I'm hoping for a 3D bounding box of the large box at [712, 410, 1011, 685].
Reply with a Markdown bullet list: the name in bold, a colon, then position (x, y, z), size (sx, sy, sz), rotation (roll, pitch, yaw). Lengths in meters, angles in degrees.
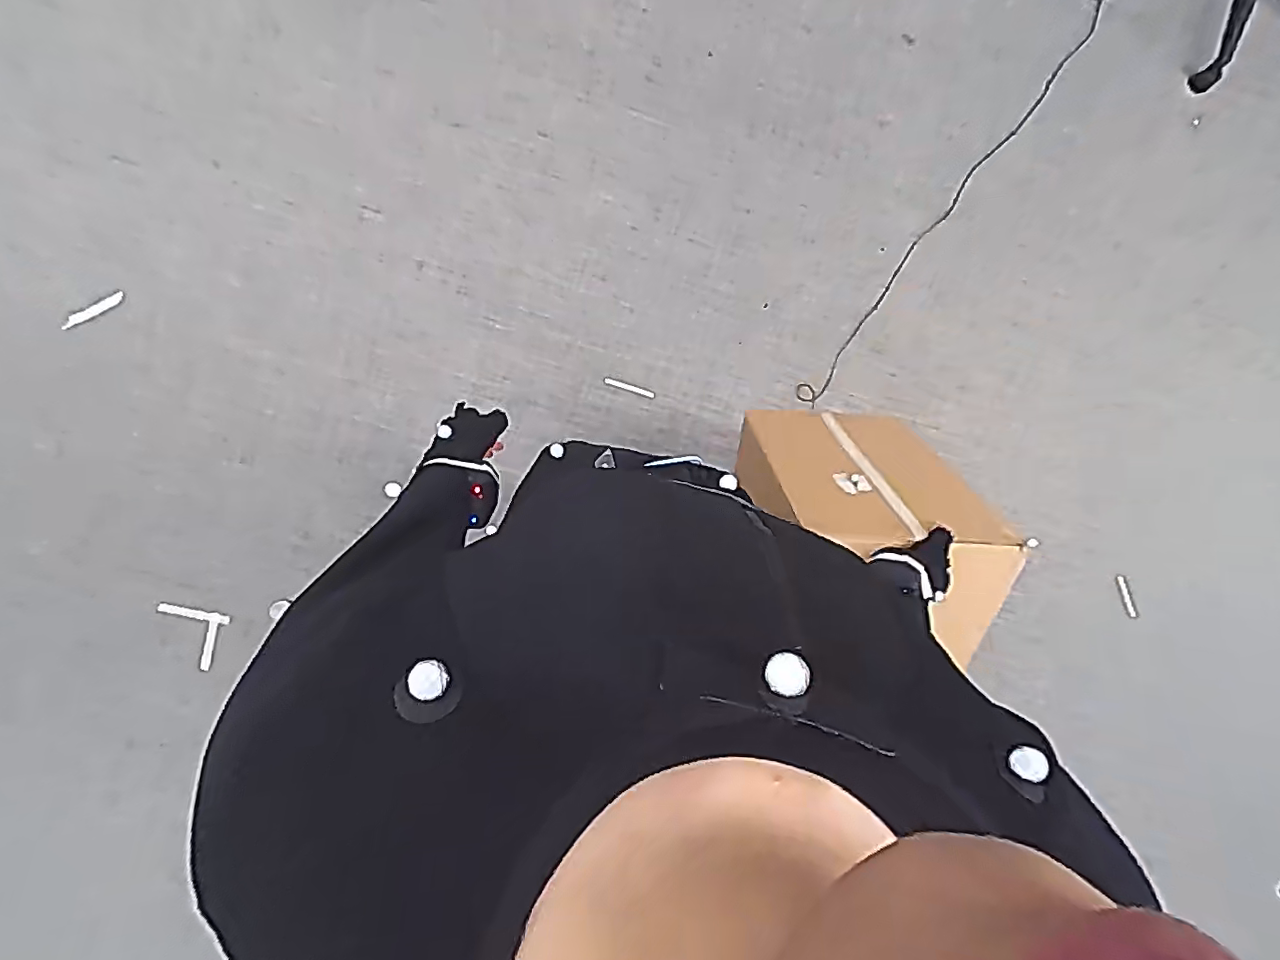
- **large box**: position (0.337, 0.105, 0.978), size (0.320, 0.408, 0.320), rotation (2, 123, -5)
